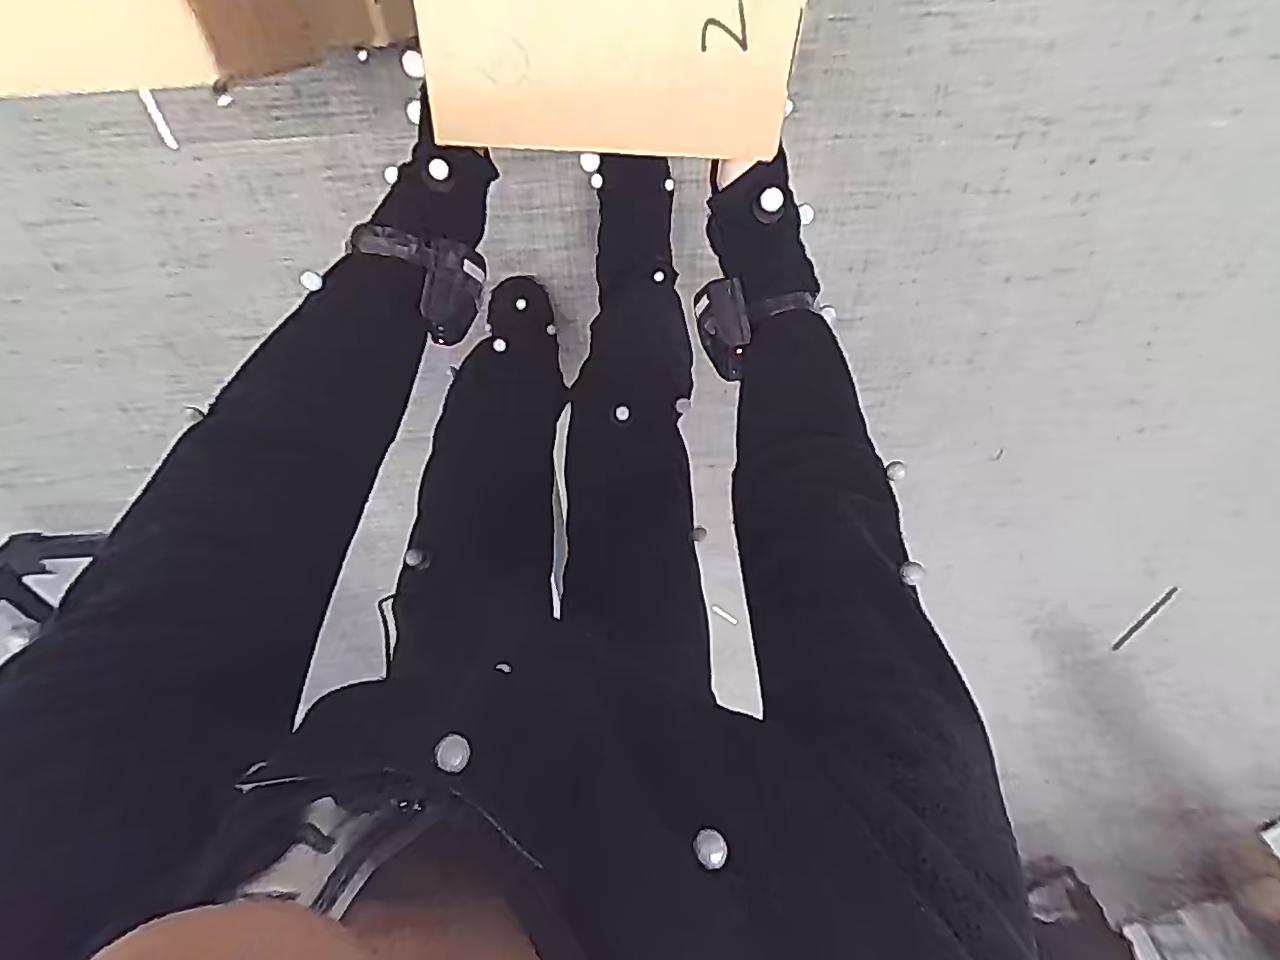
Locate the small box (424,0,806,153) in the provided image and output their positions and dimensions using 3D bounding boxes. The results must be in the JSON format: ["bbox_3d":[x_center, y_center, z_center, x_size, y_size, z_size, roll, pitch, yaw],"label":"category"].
[{"bbox_3d":[-0.014,-0.287,0.290,0.179,0.176,0.168,-1,130,-6],"label":"small box"}]

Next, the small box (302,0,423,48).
[{"bbox_3d":[-0.345,-0.548,0.548,0.179,0.176,0.168,-4,133,-3],"label":"small box"}]

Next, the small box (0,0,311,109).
[{"bbox_3d":[-0.324,-0.325,0.309,0.179,0.176,0.168,-5,131,-1],"label":"small box"}]
